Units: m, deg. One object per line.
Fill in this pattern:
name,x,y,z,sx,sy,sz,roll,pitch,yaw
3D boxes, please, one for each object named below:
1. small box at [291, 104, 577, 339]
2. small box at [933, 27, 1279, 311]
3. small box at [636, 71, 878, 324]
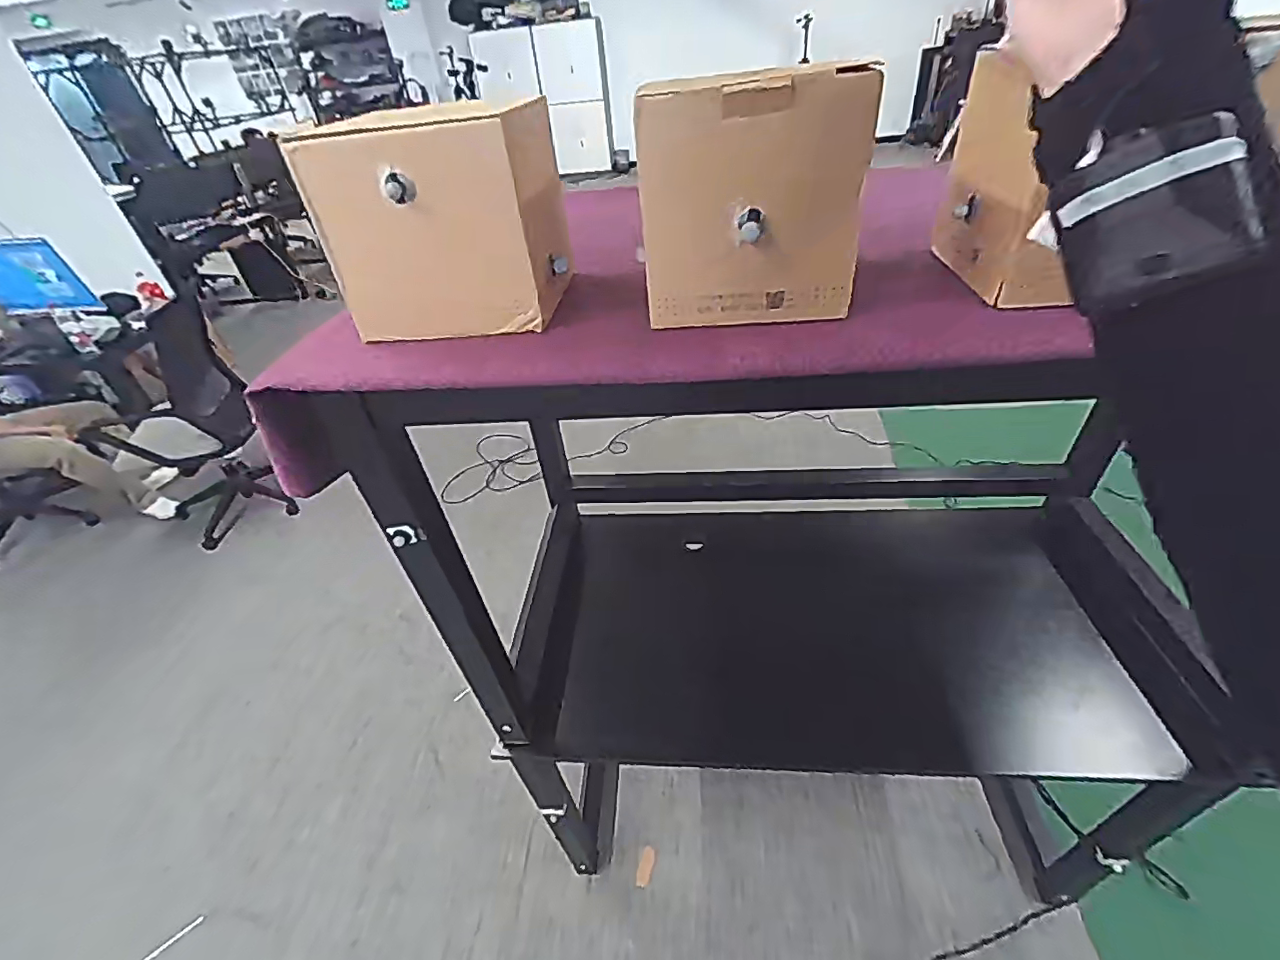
small box,-0.168,-0.241,0.510,0.179,0.176,0.168,-1,39,6
small box,0.372,-0.251,0.443,0.179,0.176,0.168,-2,37,9
small box,0.089,-0.245,0.476,0.168,0.176,0.179,-1,38,4
